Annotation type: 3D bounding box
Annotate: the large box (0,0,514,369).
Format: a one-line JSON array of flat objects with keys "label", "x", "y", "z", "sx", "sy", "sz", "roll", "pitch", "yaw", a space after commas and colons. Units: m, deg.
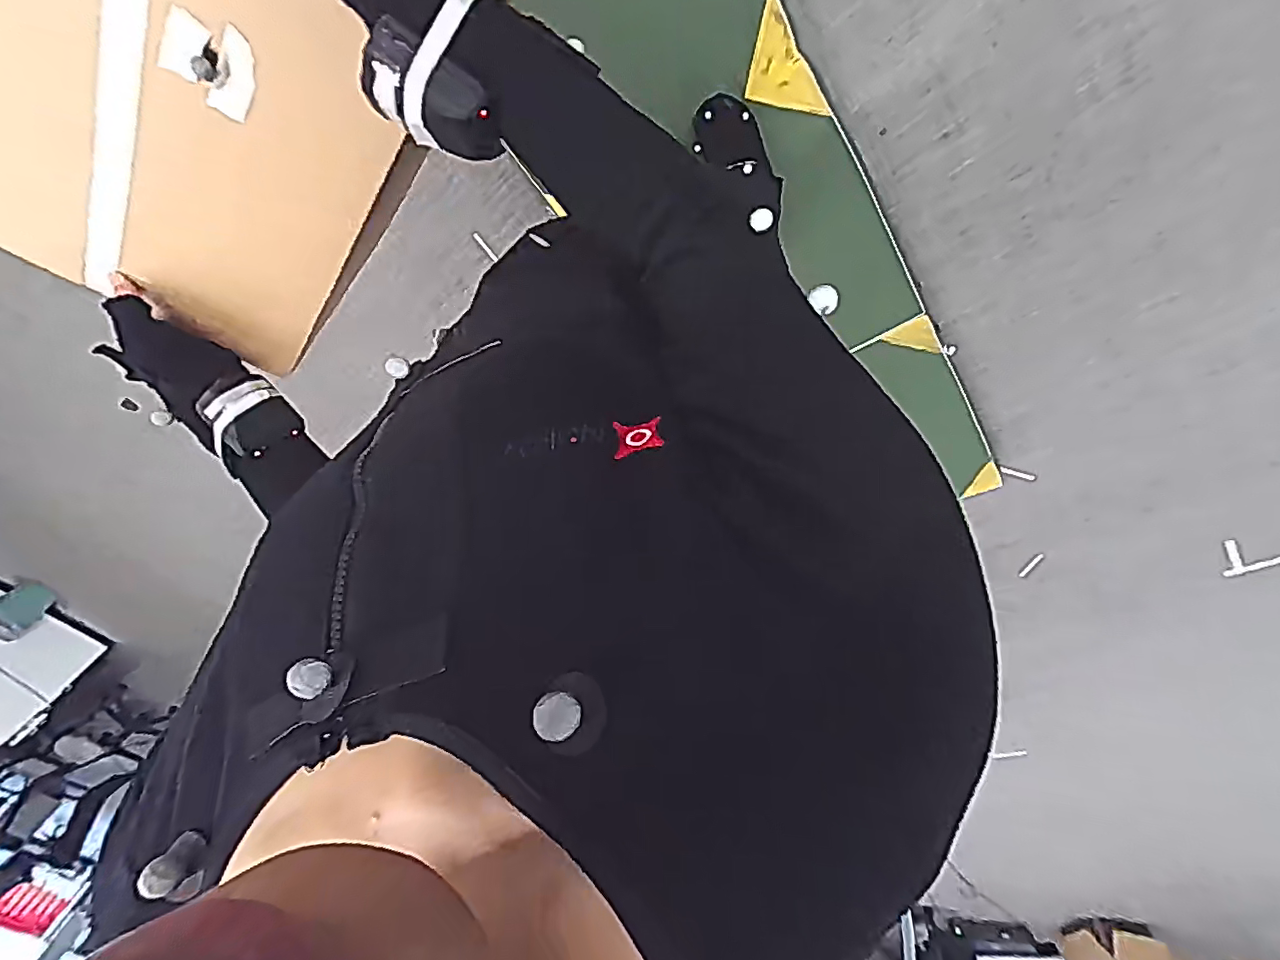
[{"label": "large box", "x": -0.344, "y": -0.389, "z": 0.481, "sx": 0.320, "sy": 0.320, "sz": 0.408, "roll": 30, "pitch": 132, "yaw": -30}]
